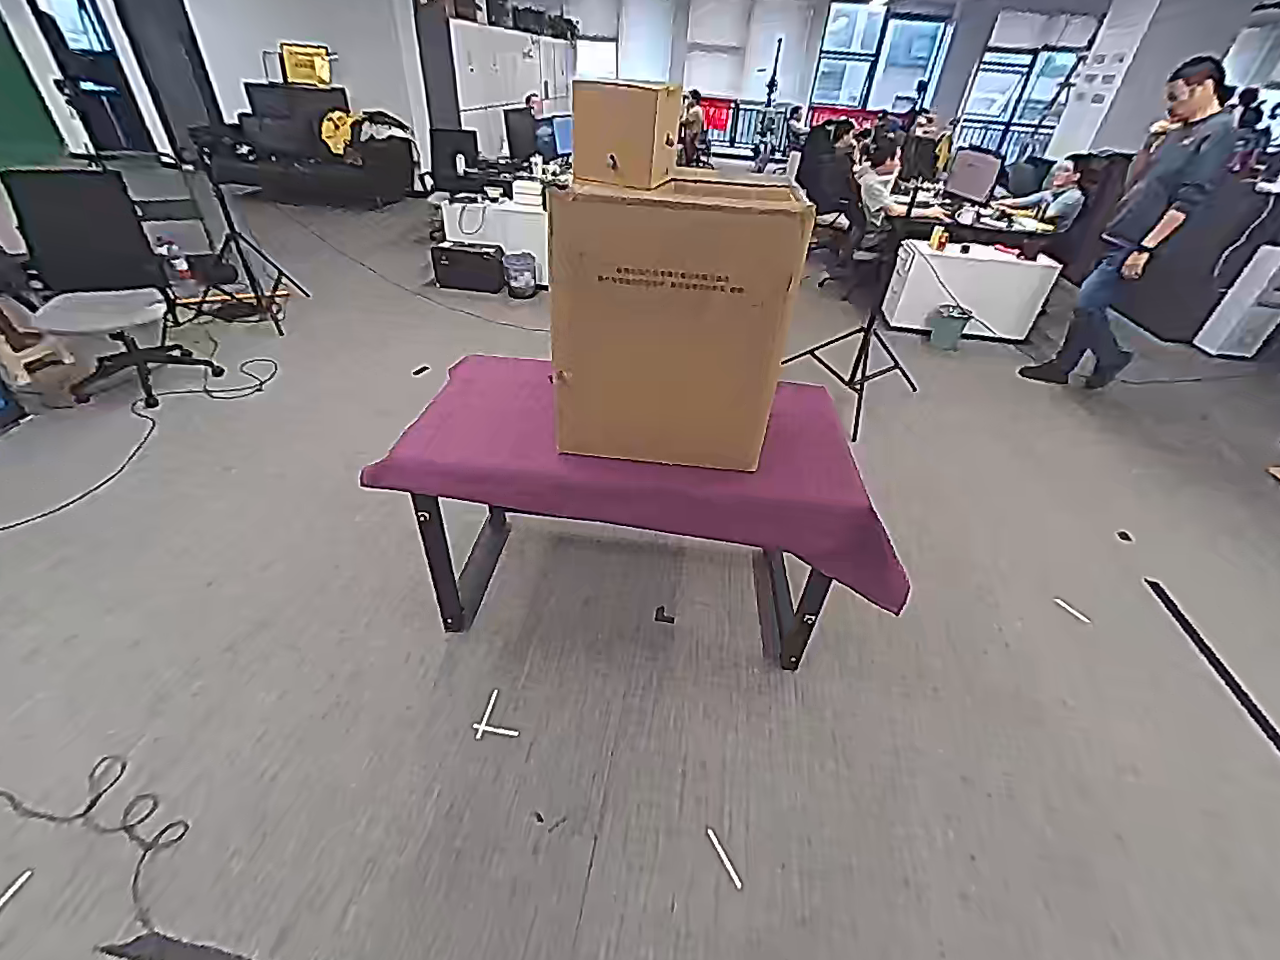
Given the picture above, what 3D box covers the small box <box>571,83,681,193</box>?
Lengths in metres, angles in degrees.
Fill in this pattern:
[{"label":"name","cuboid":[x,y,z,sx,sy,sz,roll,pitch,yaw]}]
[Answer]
[{"label":"small box","cuboid":[-0.029,-0.701,1.110,0.179,0.176,0.168,16,40,13]}]
